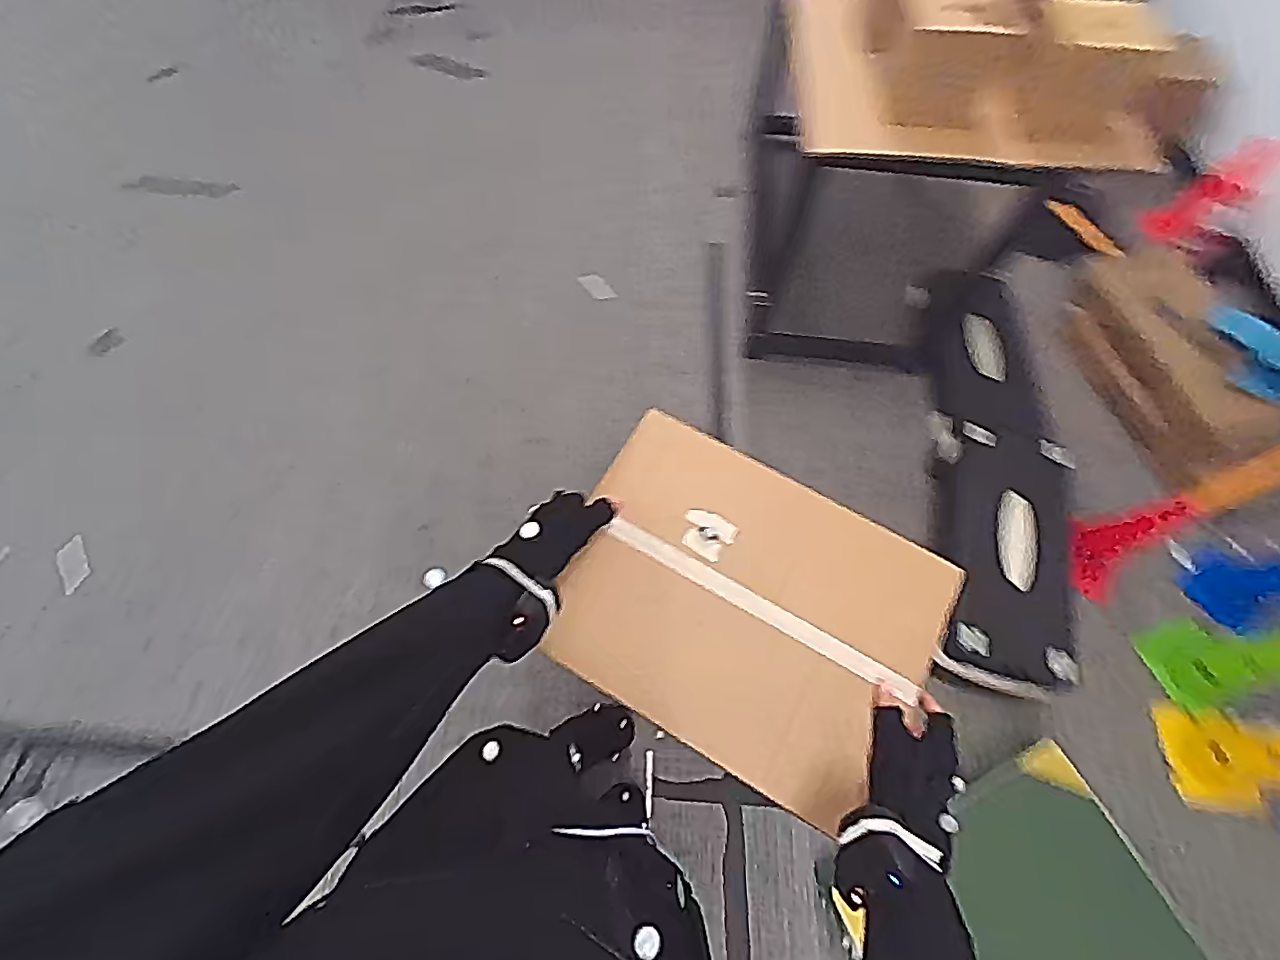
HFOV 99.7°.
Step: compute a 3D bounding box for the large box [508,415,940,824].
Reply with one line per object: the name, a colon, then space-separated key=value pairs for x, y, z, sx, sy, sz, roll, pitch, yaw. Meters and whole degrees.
large box: x=0.102 y=0.179 z=0.743 sx=0.408 sy=0.320 sz=0.320 roll=28 pitch=71 yaw=11
